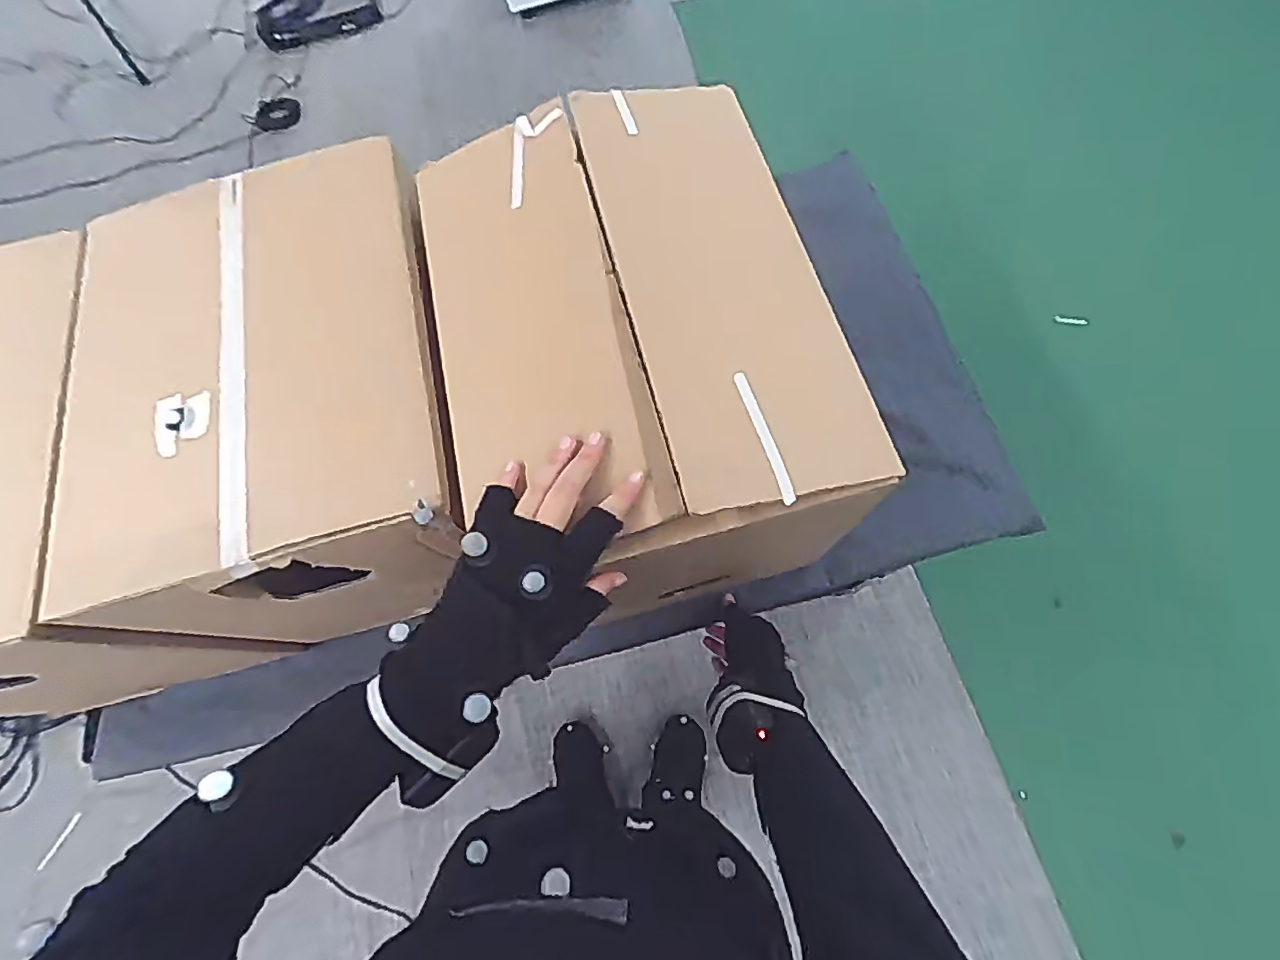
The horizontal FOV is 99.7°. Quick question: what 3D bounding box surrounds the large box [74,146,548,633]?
[{"bbox_3d":[-0.324,-0.071,0.616,0.320,0.320,0.408,-16,70,1],"label":"large box"}]
